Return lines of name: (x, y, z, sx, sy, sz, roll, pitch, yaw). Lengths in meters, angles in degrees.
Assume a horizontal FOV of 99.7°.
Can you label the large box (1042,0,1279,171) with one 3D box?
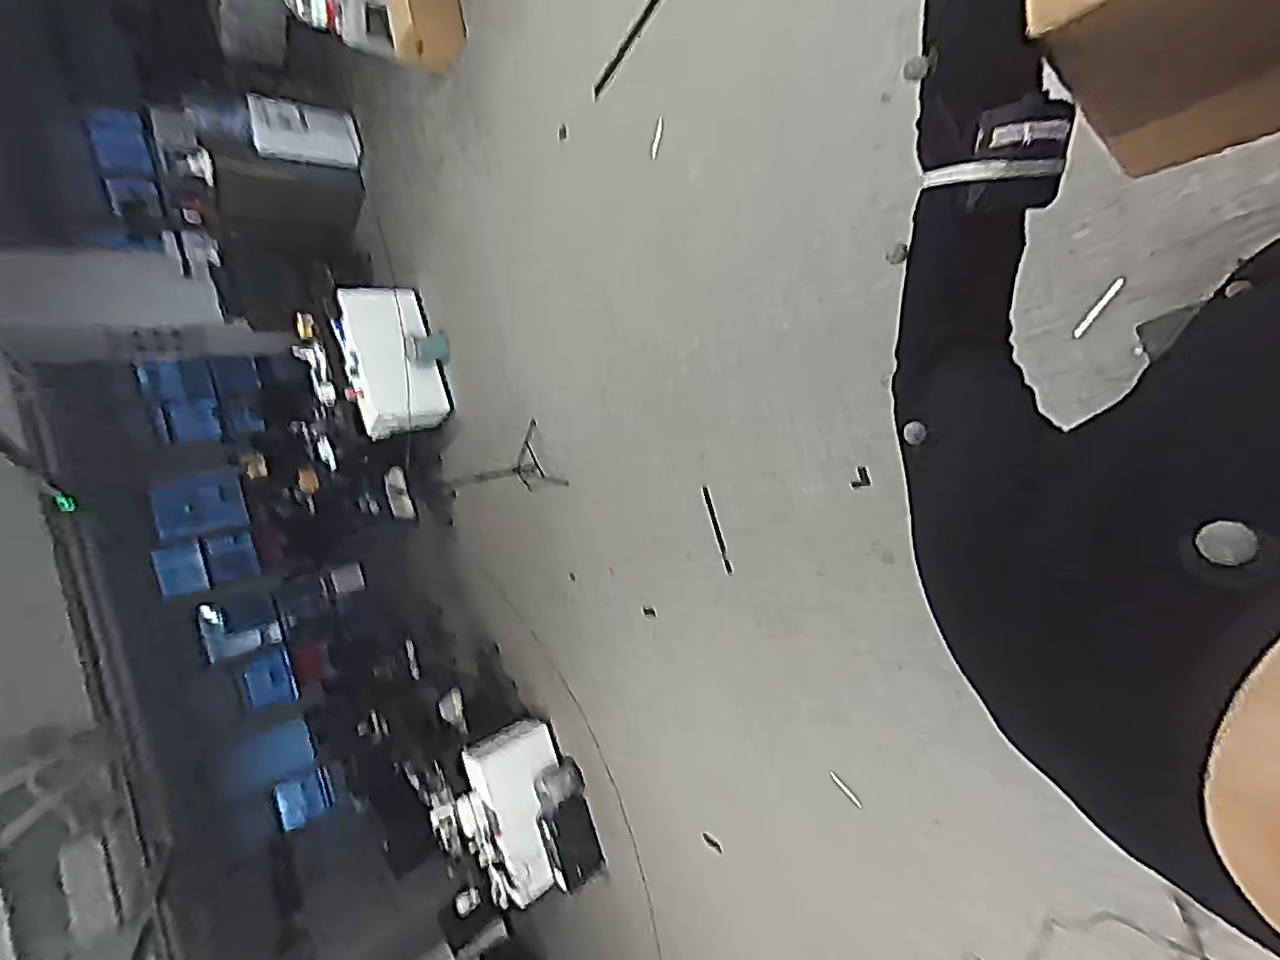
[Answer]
large box: (0.478, -0.442, 0.275, 0.408, 0.320, 0.320, -2, 92, 51)
